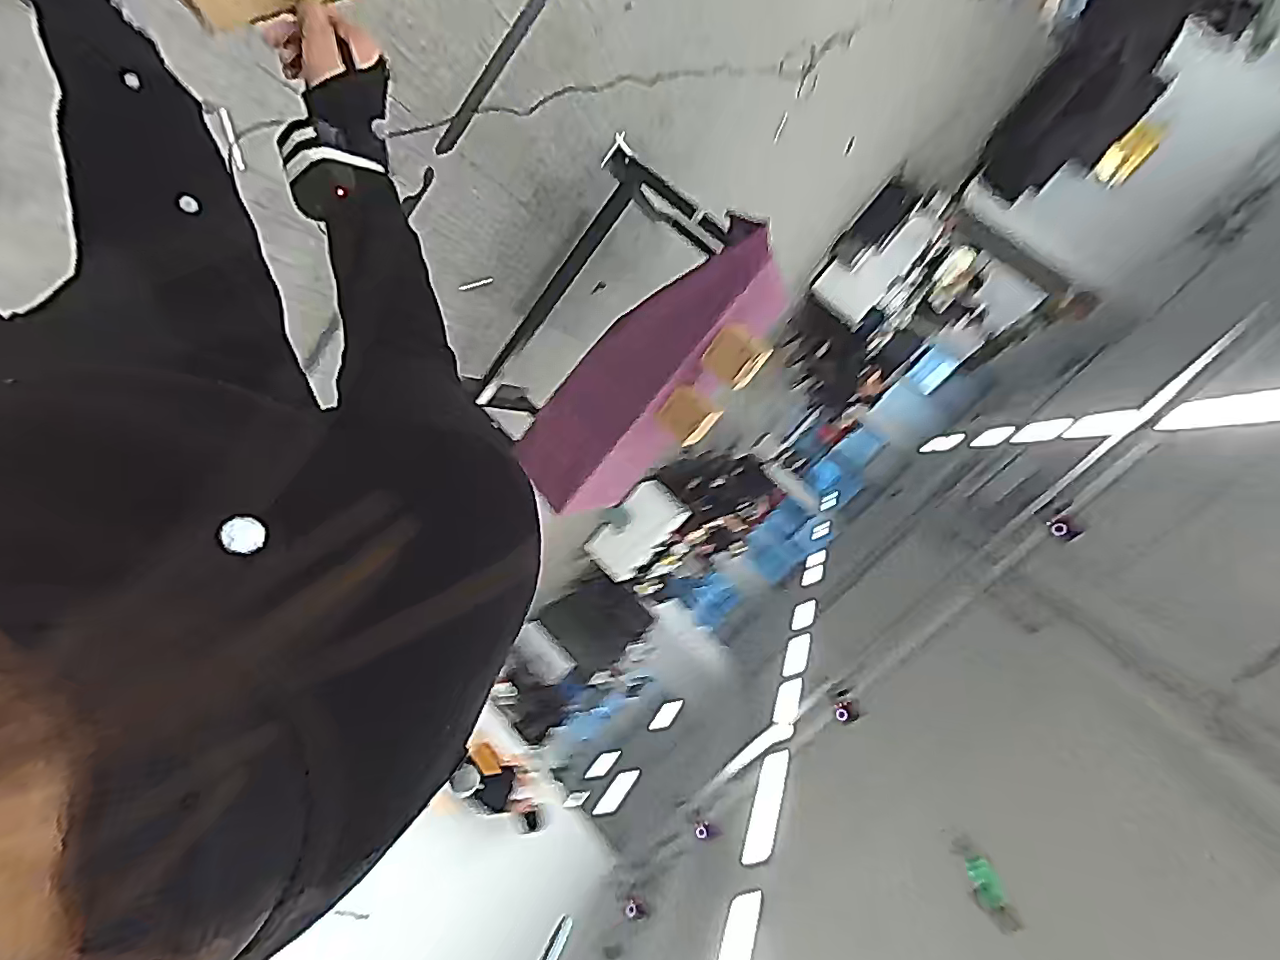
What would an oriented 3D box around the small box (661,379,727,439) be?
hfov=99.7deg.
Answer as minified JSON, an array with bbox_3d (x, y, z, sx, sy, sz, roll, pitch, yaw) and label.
[{"bbox_3d":[0.209,-0.284,2.130,0.168,0.176,0.179,-52,166,24],"label":"small box"}]

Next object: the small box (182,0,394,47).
[{"bbox_3d":[-0.339,-0.504,0.436,0.168,0.176,0.179,-36,157,-19],"label":"small box"}]
